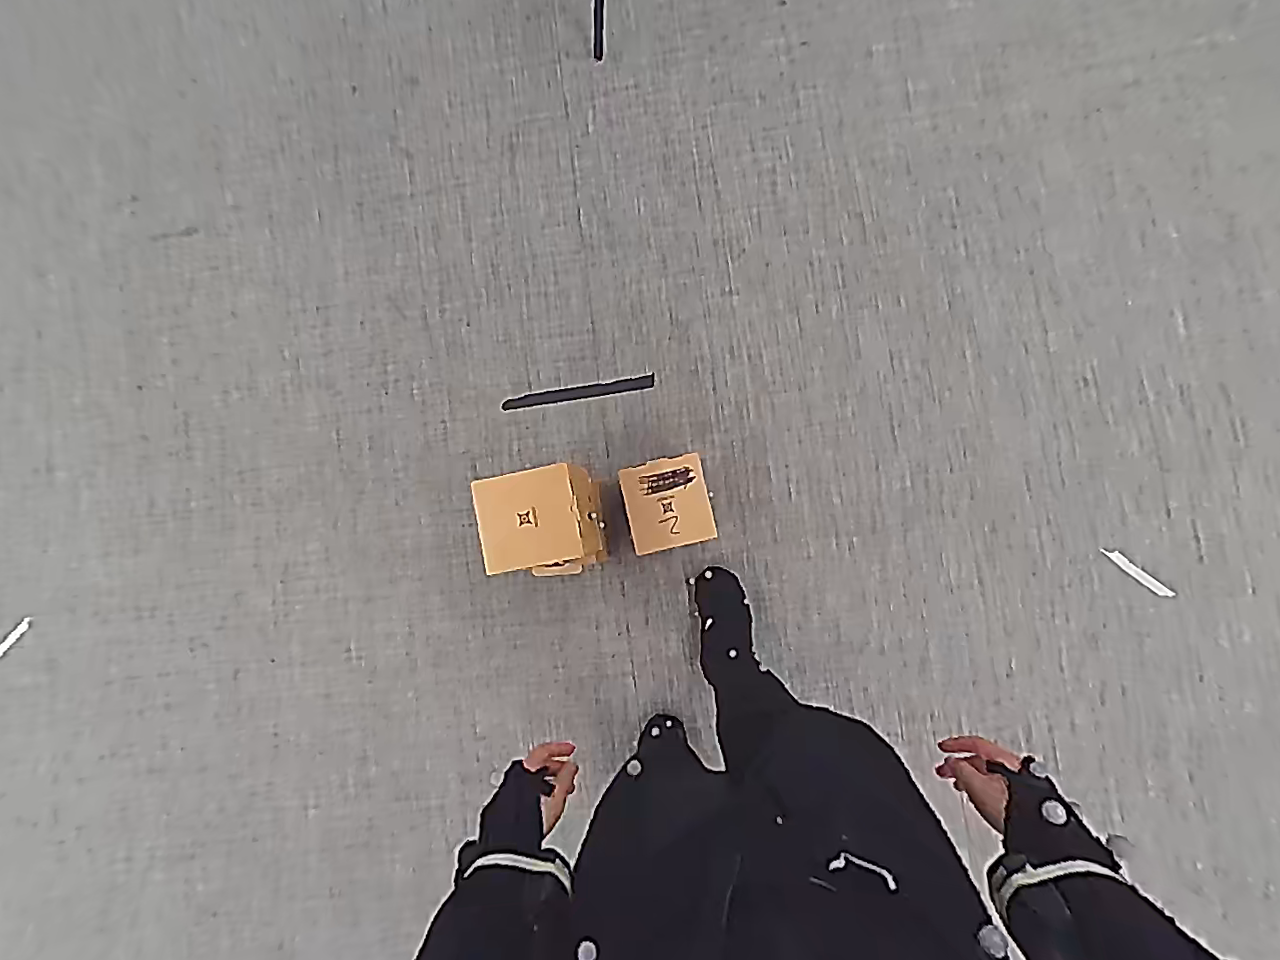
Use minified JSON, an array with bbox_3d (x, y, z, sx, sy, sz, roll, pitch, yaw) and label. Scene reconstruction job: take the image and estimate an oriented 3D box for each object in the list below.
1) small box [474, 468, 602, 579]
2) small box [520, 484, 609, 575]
[{"bbox_3d":[-0.181,0.082,0.996,0.179,0.176,0.168,-12,84,4],"label":"small box"},{"bbox_3d":[-0.162,0.103,1.156,0.168,0.176,0.179,-5,84,5],"label":"small box"}]
